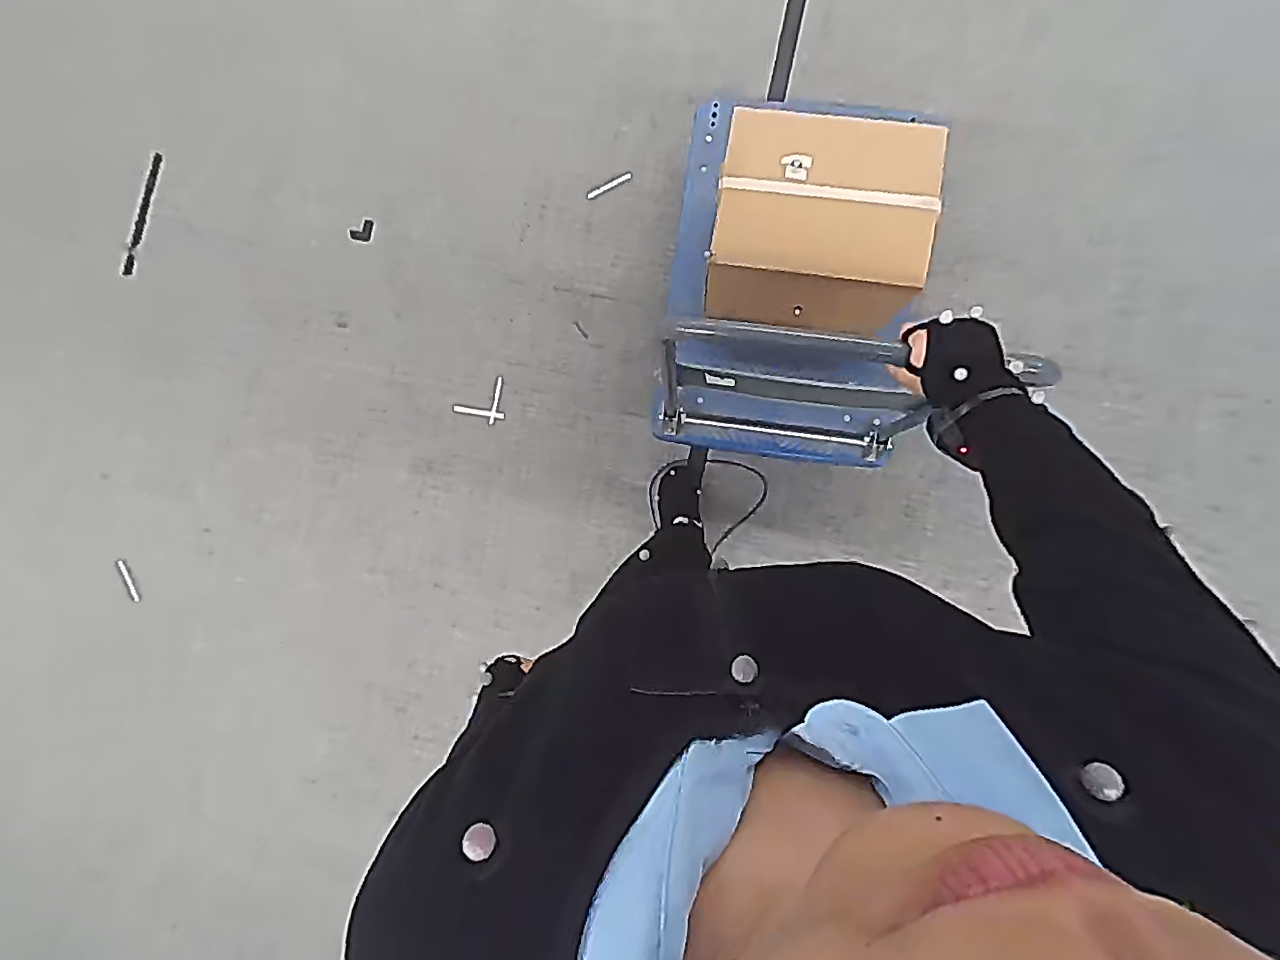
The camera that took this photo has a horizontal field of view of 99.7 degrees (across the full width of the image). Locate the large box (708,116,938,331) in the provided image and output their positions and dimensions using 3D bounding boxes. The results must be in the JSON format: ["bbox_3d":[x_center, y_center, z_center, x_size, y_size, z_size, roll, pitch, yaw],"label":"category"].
[{"bbox_3d":[0.370,-0.538,1.189,0.408,0.320,0.320,8,87,7],"label":"large box"}]
